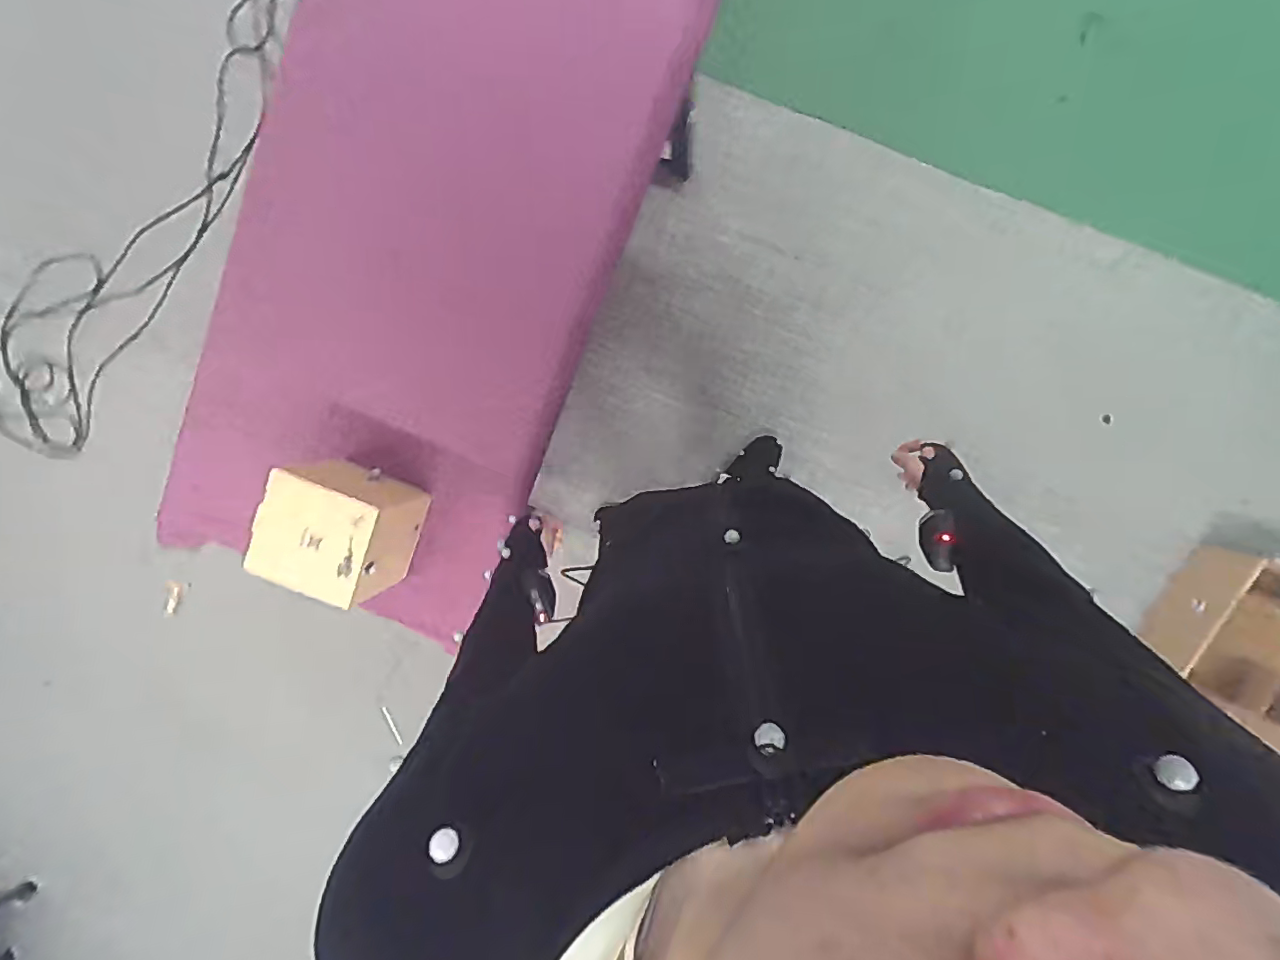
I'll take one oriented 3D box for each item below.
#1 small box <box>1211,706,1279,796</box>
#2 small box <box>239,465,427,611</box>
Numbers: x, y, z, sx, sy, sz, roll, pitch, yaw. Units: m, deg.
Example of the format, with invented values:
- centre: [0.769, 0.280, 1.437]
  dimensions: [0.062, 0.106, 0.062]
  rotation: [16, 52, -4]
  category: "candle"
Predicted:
- centre: [1.543, 0.668, 1.279]
  dimensions: [0.179, 0.176, 0.168]
  rotation: [28, 96, 0]
  category: "small box"
- centre: [-0.476, 0.080, 0.862]
  dimensions: [0.179, 0.176, 0.168]
  rotation: [21, 98, 3]
  category: "small box"
